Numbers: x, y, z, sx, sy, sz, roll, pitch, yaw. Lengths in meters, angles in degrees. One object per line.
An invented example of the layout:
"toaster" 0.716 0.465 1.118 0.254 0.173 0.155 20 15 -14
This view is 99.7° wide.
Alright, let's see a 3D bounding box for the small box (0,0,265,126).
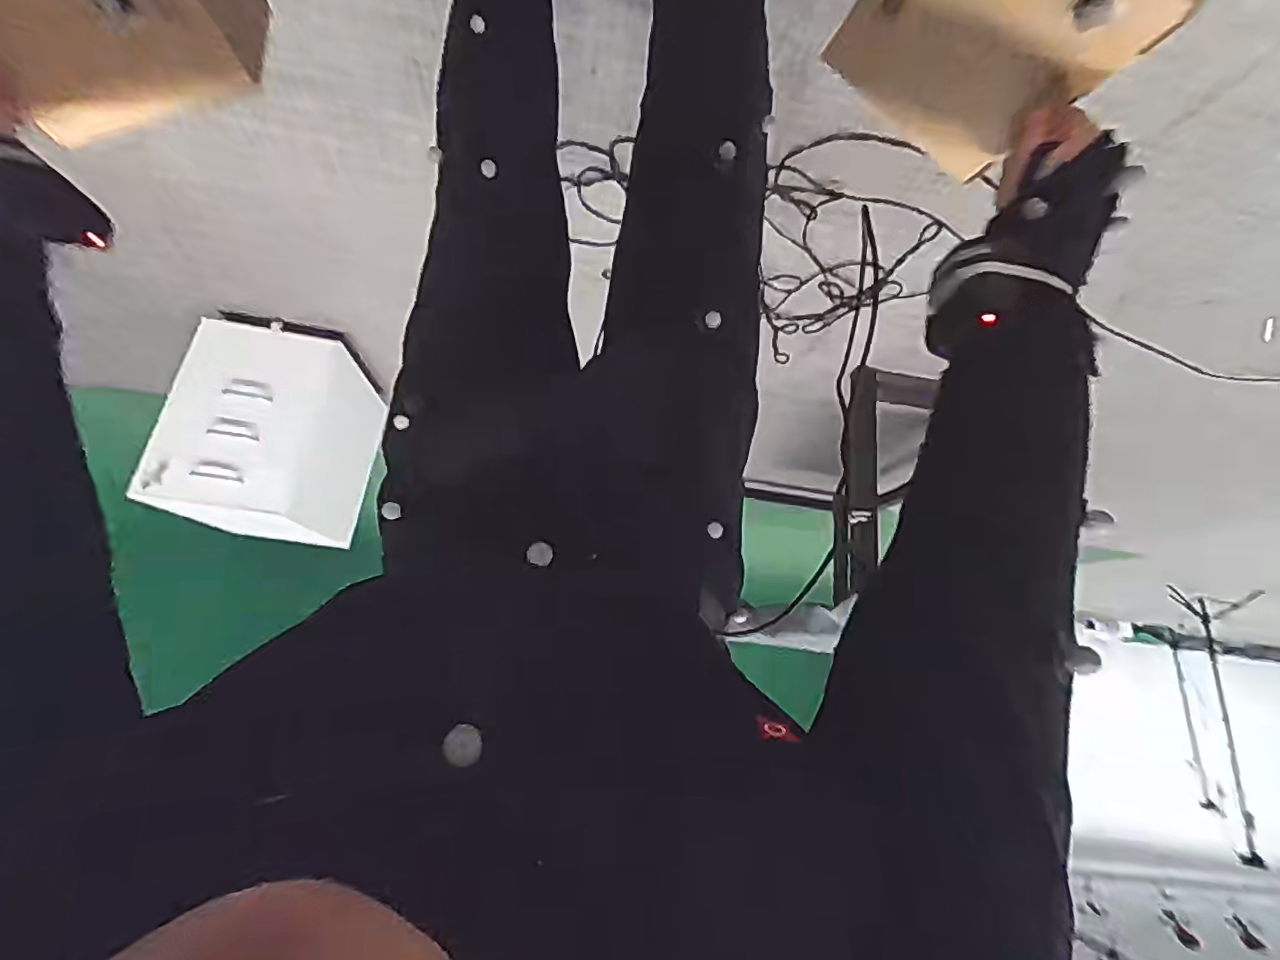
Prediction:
"small box" -0.409 -0.406 0.395 0.176 0.179 0.168 -20 150 -2
